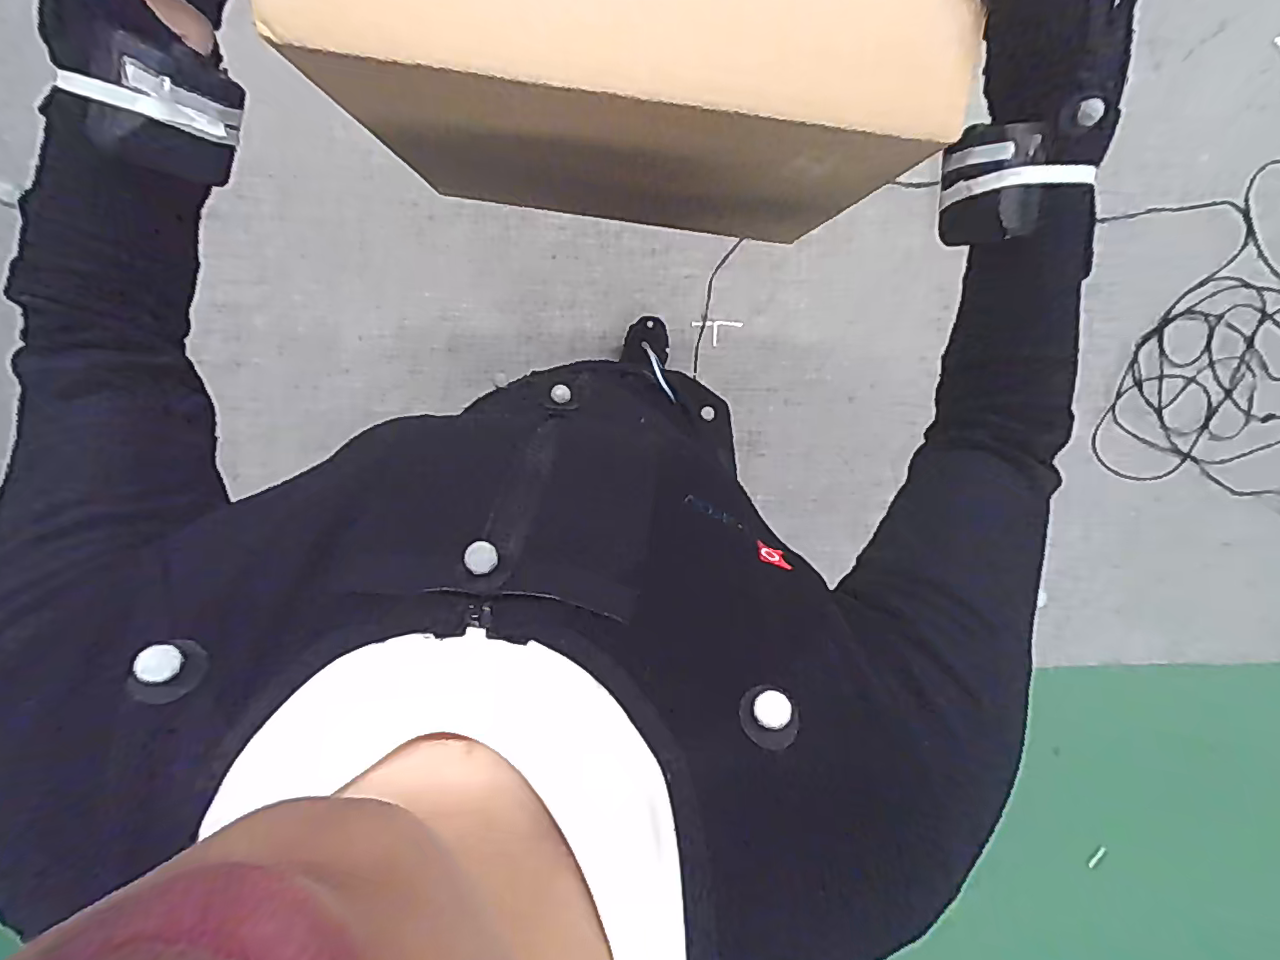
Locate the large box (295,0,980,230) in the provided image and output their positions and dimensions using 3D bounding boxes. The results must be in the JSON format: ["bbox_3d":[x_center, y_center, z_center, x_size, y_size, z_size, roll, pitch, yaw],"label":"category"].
[{"bbox_3d":[0.006,-0.415,0.434,0.408,0.320,0.320,6,104,-4],"label":"large box"}]
